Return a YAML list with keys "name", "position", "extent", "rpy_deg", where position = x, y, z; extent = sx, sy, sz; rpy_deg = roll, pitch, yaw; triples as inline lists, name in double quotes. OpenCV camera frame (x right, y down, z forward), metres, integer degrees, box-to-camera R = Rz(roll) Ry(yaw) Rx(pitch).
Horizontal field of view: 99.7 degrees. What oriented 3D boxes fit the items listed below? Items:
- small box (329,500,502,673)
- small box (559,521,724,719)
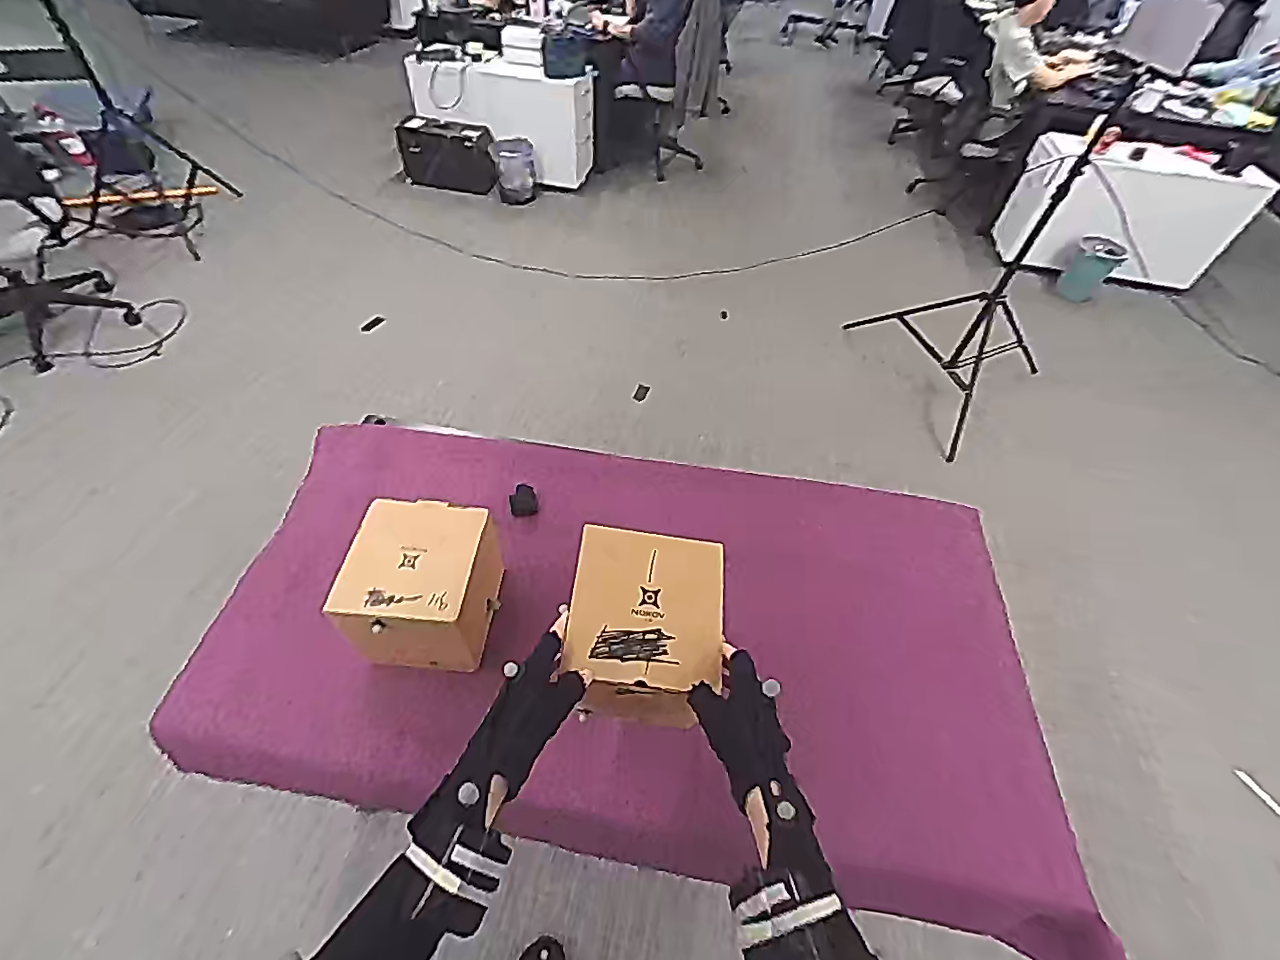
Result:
- name: "small box"
  position: [-0.301, 0.153, 0.774]
  extent: [0.168, 0.176, 0.179]
  rpy_deg: [5, 49, -1]
- name: "small box"
  position: [0.001, 0.176, 0.653]
  extent: [0.168, 0.176, 0.179]
  rpy_deg: [9, 54, -3]
